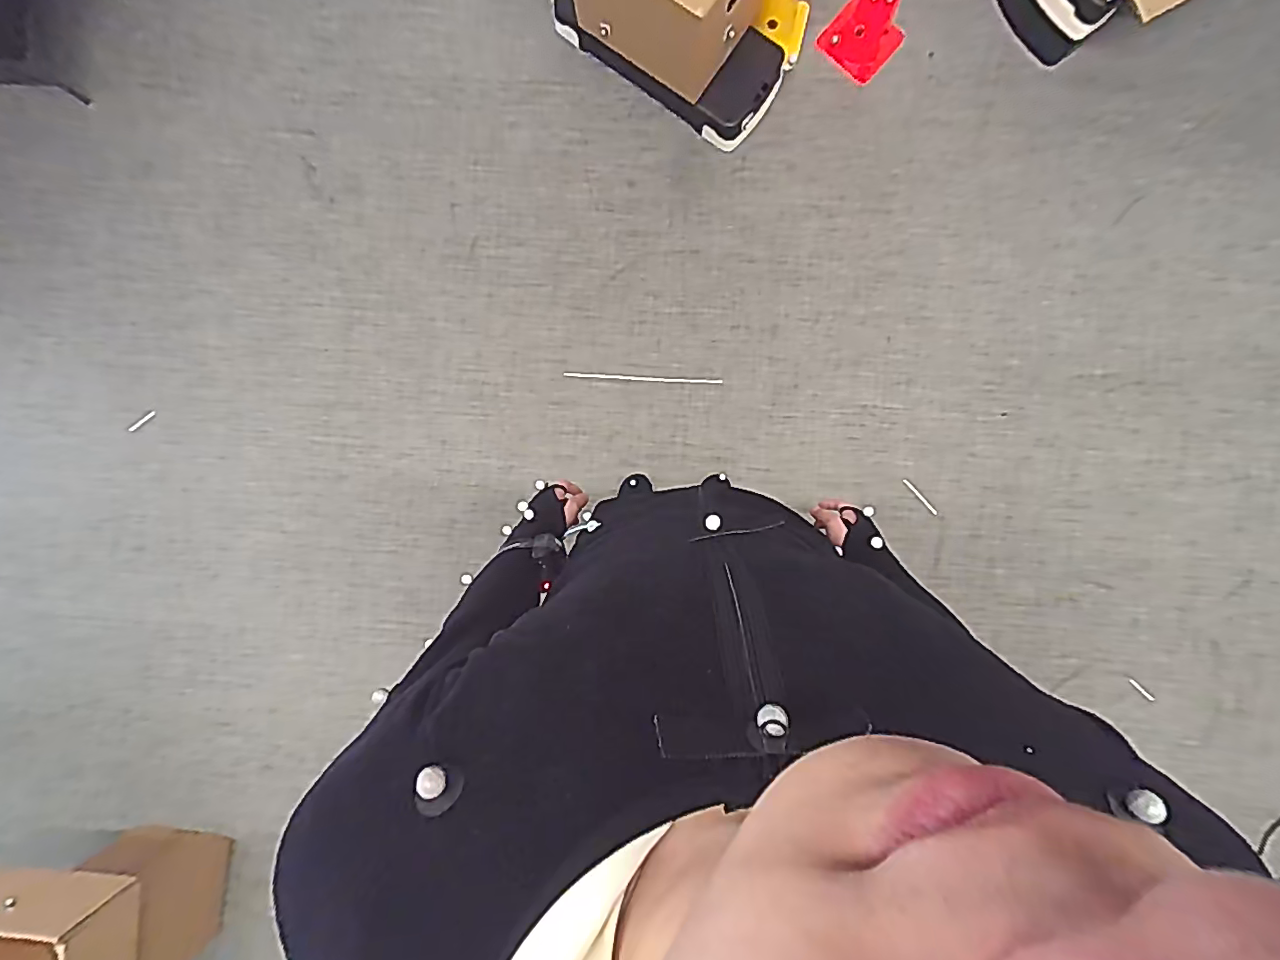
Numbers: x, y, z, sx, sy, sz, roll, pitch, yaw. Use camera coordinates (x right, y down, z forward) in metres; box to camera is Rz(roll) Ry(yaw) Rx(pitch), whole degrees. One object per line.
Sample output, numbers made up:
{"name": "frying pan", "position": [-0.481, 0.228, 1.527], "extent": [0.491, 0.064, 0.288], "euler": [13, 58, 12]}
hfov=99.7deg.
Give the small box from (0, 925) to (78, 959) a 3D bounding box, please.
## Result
{"name": "small box", "position": [-1.423, 1.137, 1.197], "extent": [0.179, 0.176, 0.168], "euler": [6, 90, 1]}
